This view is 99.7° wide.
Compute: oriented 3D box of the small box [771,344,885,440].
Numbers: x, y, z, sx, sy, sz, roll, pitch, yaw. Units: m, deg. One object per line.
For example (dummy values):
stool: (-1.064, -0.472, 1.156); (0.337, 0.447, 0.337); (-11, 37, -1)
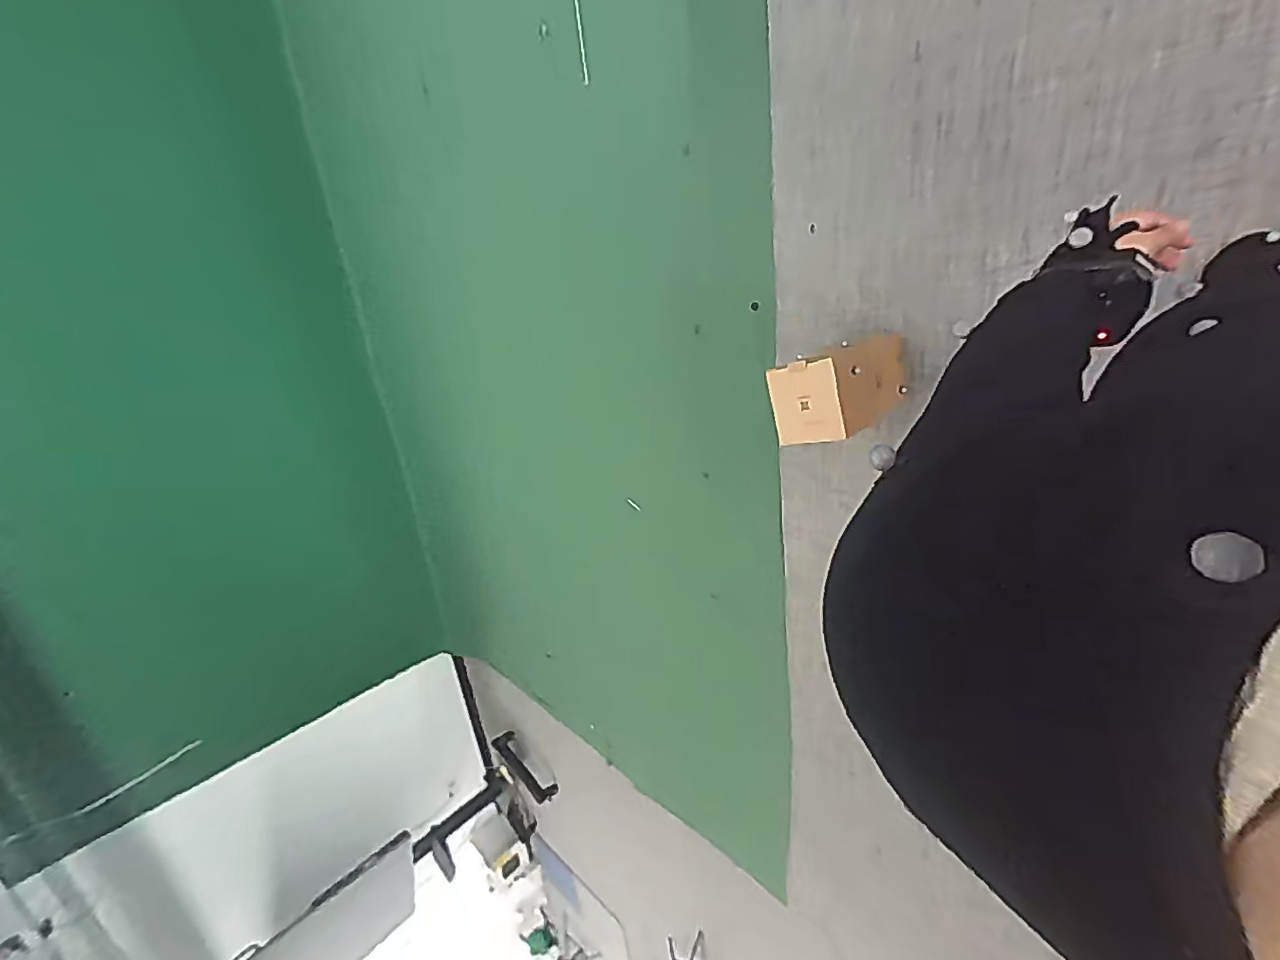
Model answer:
small box: (0.423, -0.200, 1.211); (0.168, 0.176, 0.179); (-3, 107, 50)

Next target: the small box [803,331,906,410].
small box: (0.530, -0.258, 1.319); (0.179, 0.176, 0.168); (1, 109, 49)
